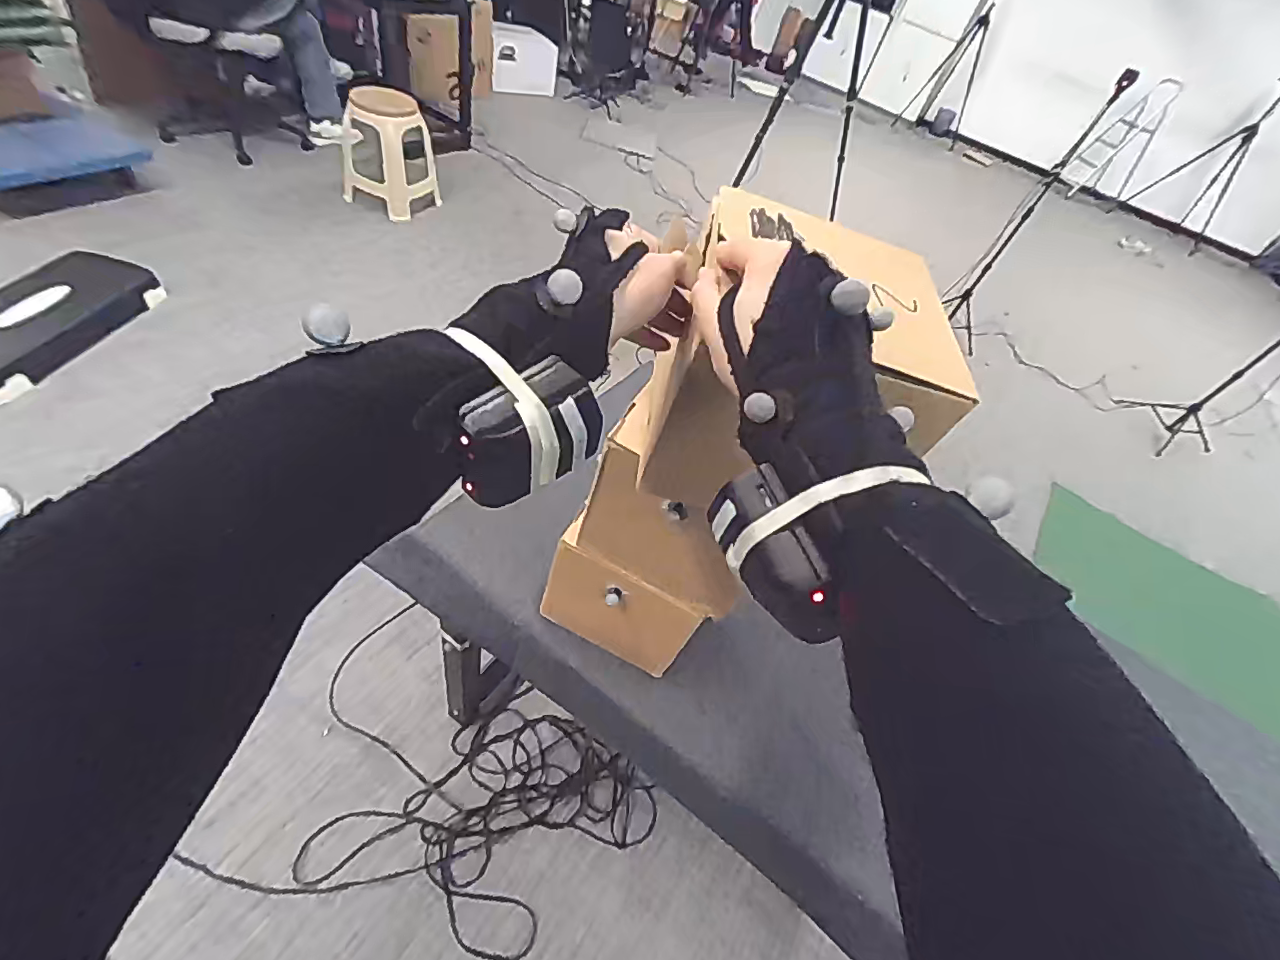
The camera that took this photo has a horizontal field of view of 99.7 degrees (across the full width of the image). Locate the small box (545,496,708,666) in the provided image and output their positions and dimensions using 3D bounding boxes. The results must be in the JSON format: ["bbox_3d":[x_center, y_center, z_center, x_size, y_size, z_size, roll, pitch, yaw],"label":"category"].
[{"bbox_3d":[0.002,0.107,0.677,0.179,0.176,0.168,27,46,6],"label":"small box"}]

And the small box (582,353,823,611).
[{"bbox_3d":[0.058,0.006,0.562,0.179,0.176,0.168,28,47,6],"label":"small box"}]
